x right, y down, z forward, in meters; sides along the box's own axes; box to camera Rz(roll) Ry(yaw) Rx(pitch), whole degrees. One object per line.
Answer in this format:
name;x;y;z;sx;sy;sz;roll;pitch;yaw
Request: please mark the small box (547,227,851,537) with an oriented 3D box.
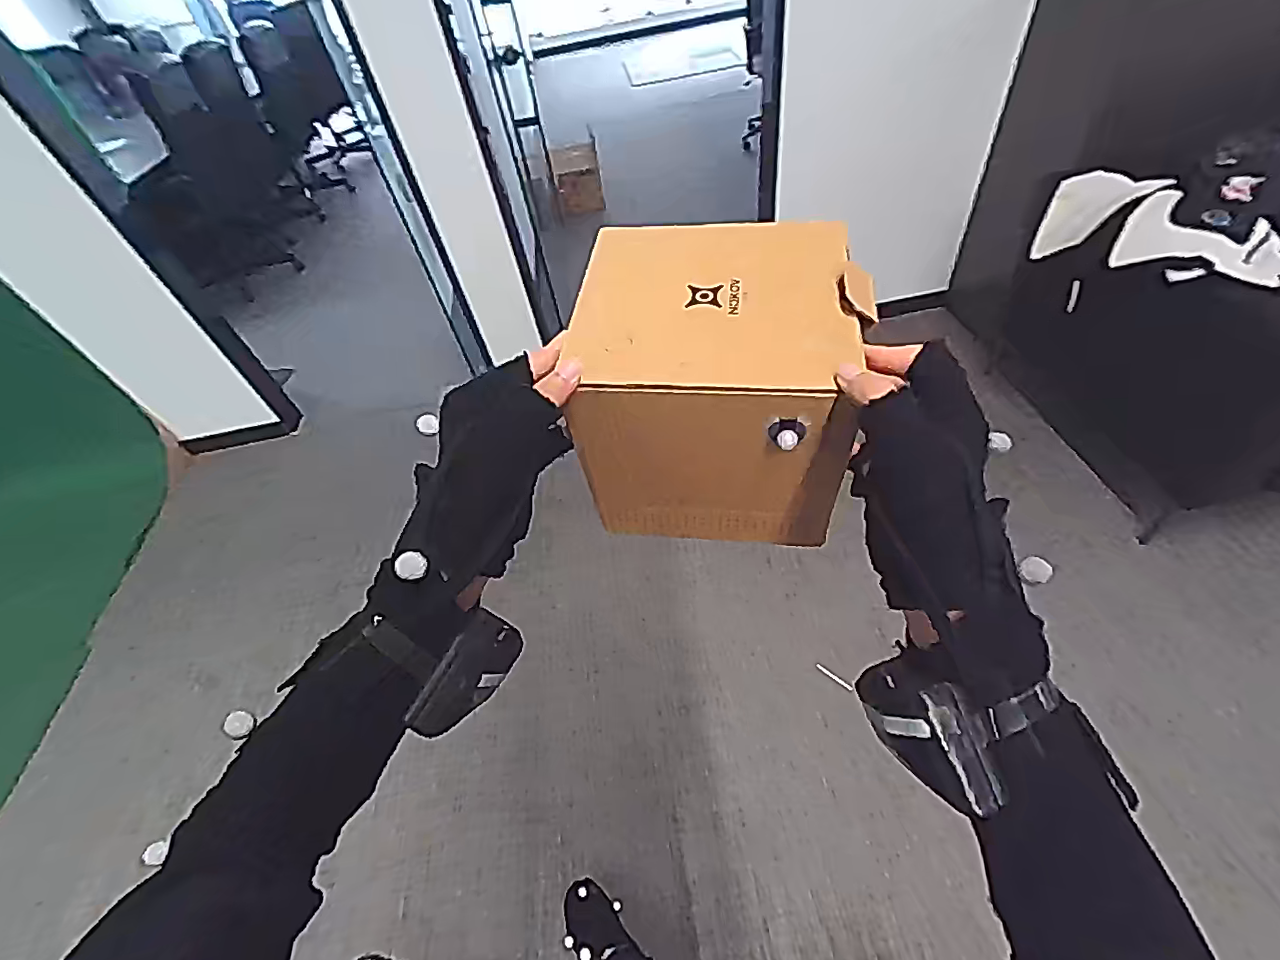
small box;0.048;-0.069;0.414;0.179;0.176;0.168;3;54;9
